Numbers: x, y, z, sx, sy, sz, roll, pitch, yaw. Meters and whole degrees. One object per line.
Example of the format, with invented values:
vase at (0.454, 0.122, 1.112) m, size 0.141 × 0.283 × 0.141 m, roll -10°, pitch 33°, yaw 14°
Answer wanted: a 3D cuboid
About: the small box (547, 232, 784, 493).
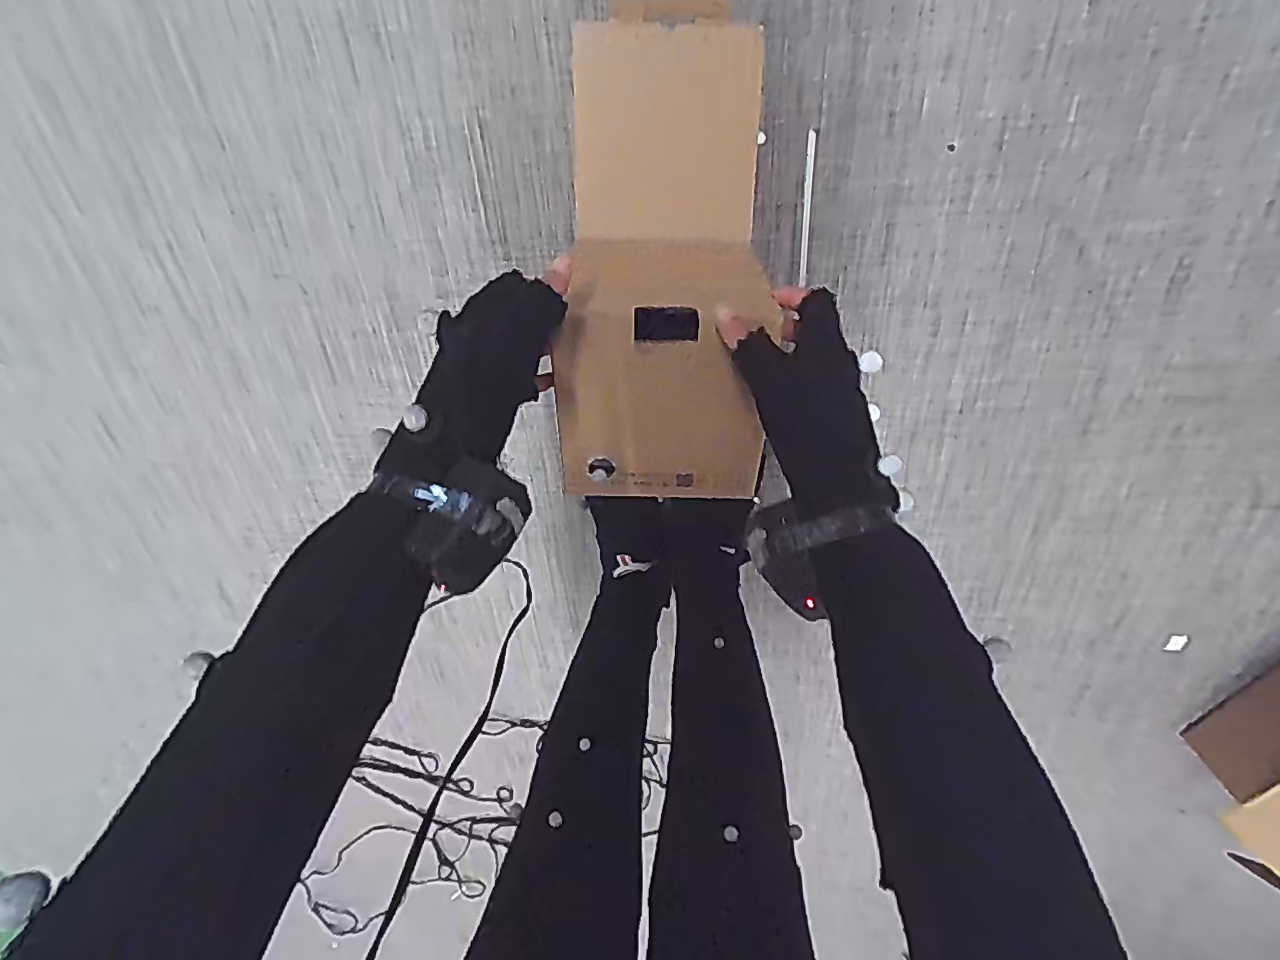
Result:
small box at (0.021, -0.104, 0.480) m, size 0.168 × 0.179 × 0.176 m, roll 2°, pitch 132°, yaw 1°
